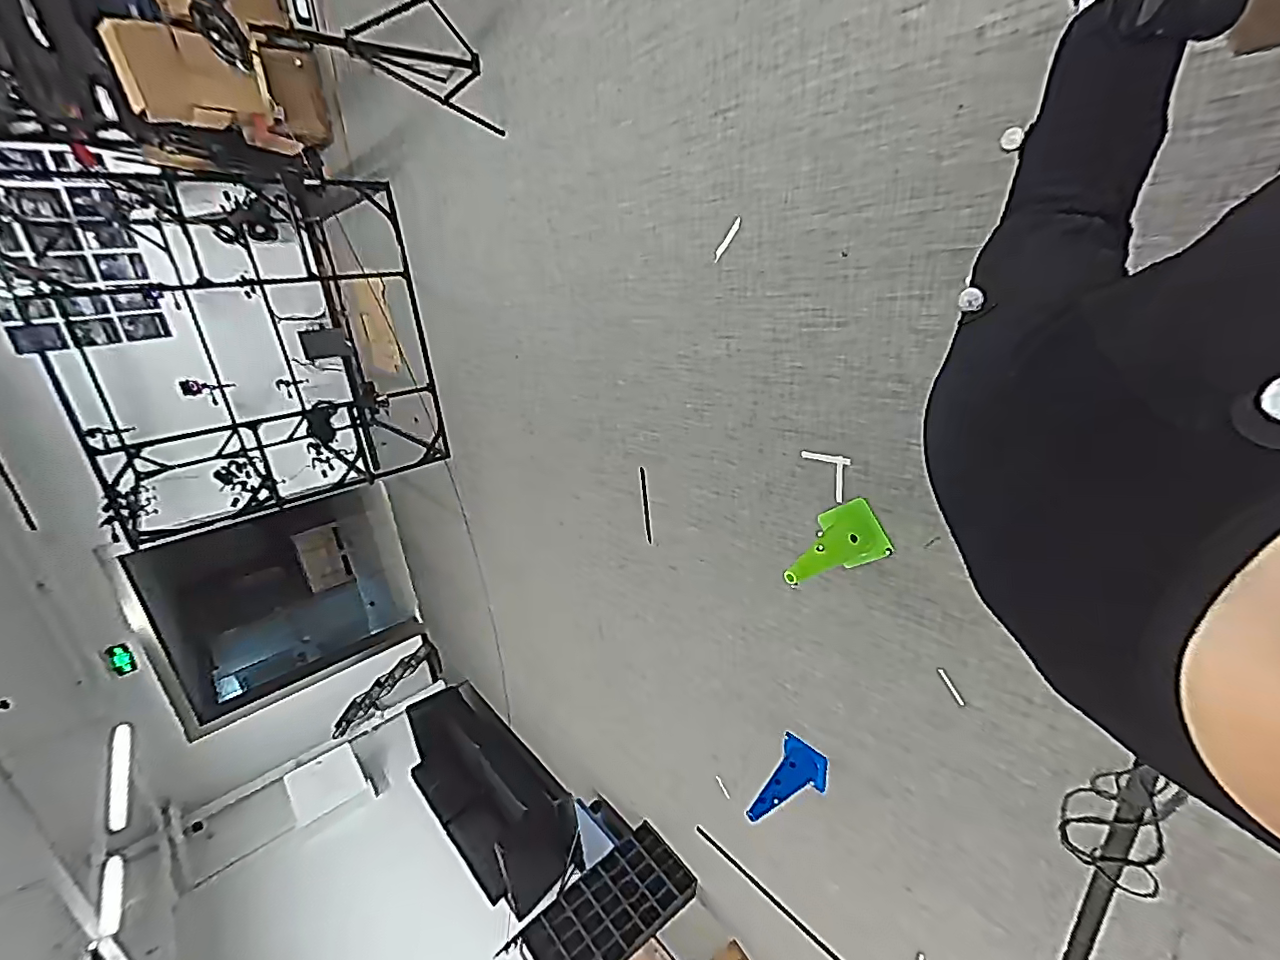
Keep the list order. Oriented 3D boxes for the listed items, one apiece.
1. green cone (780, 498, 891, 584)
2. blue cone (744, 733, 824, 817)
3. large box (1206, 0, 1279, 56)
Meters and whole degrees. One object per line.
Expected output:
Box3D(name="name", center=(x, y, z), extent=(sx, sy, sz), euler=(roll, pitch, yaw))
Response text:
Box3D(name="green cone", center=(0.557, 0.222, 1.649), extent=(0.200, 0.368, 0.202), euler=(63, 145, 10))
Box3D(name="blue cone", center=(0.561, 1.225, 2.173), extent=(0.192, 0.380, 0.193), euler=(24, 125, 46))
Box3D(name="large box", center=(0.578, -0.460, 0.241), extent=(0.408, 0.320, 0.320), euler=(19, 123, 44))
